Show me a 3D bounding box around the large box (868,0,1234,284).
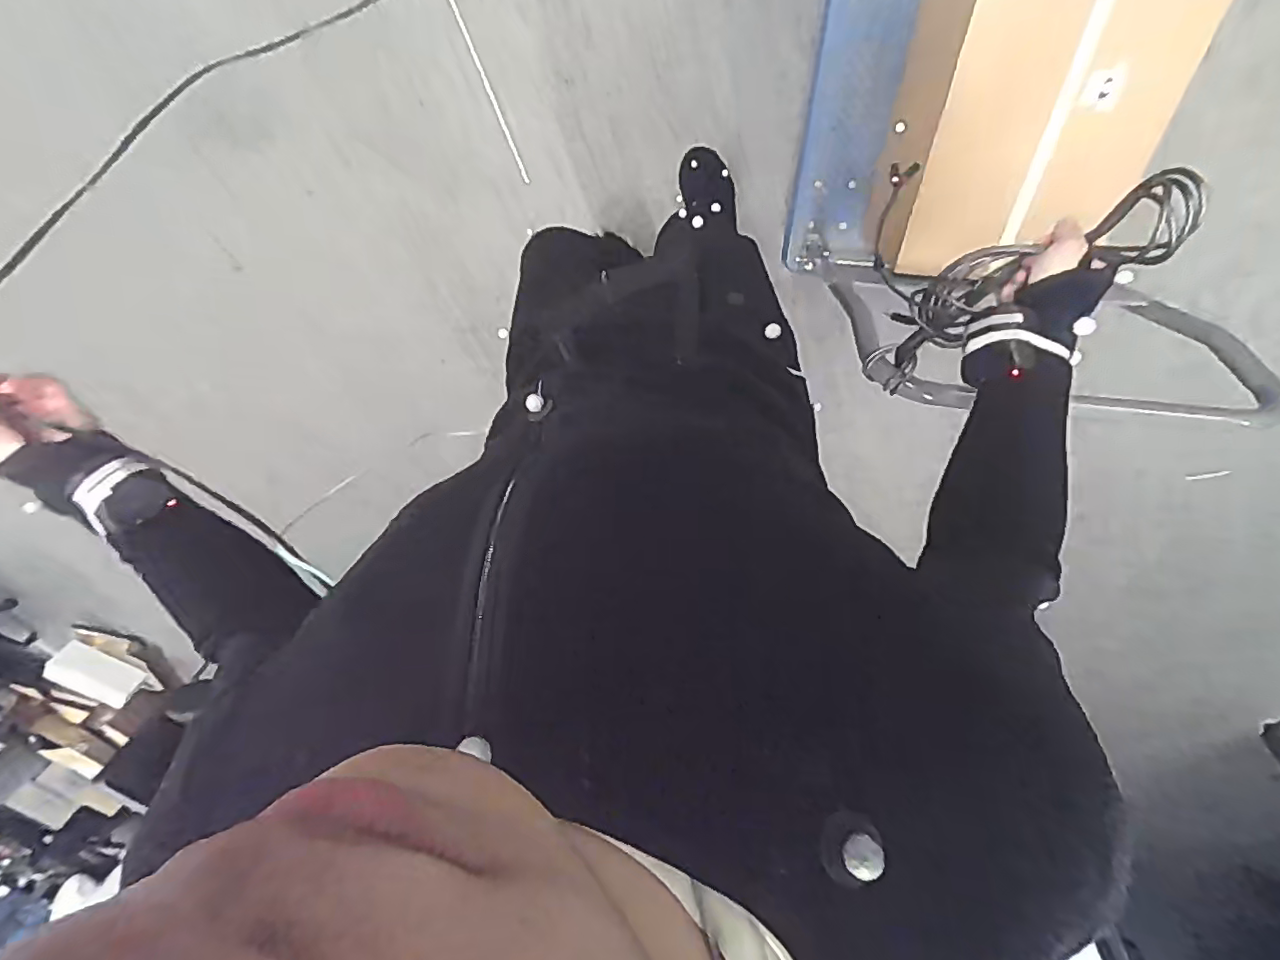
[{"bbox_3d":[0.617,-0.585,0.910,0.320,0.320,0.408,6,127,4],"label":"large box"}]
